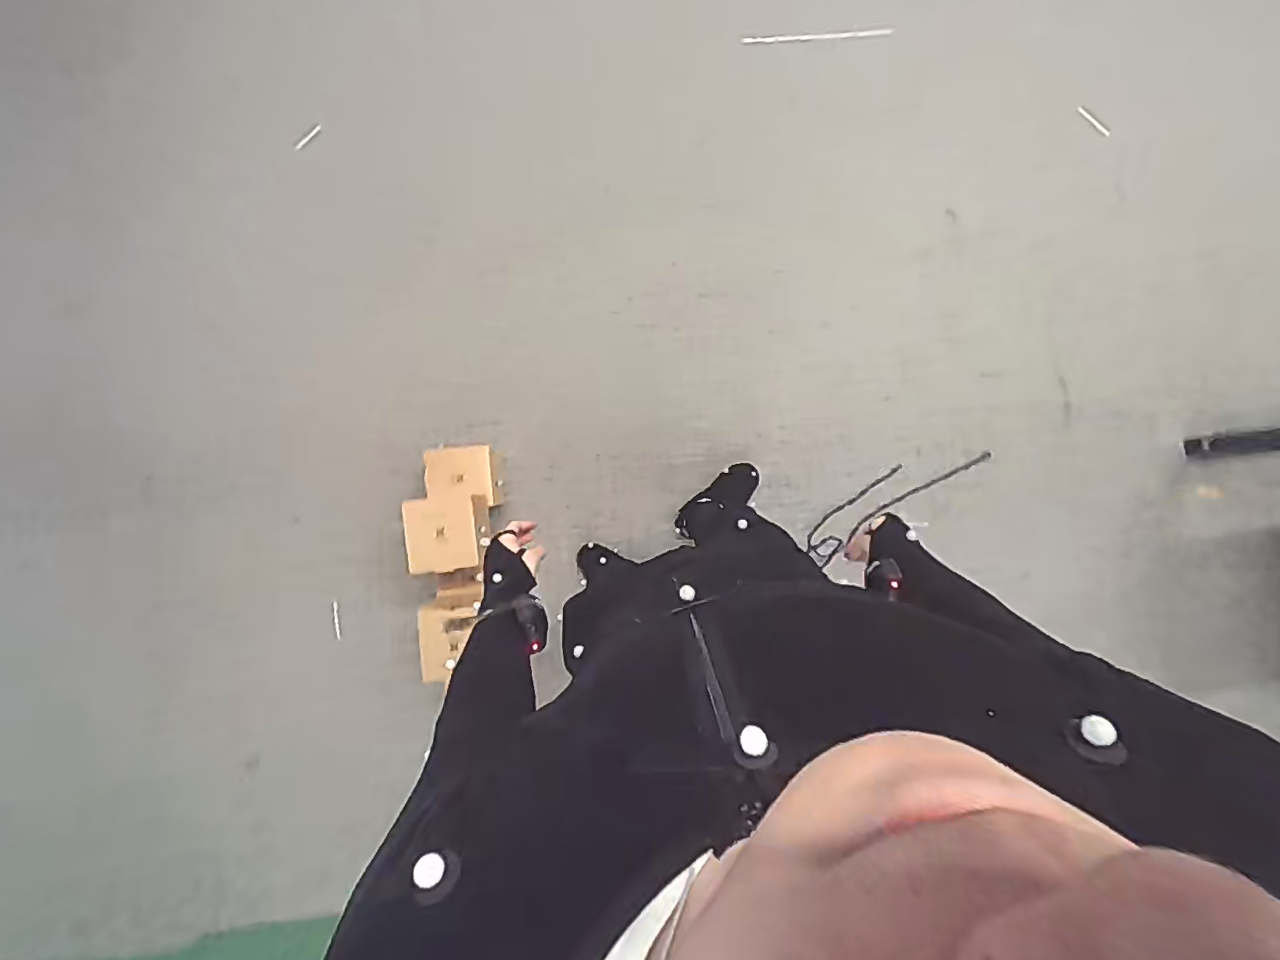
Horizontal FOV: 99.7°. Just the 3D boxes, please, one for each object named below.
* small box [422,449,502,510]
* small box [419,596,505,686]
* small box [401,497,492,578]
[{"bbox_3d":[-0.491,0.003,1.518,0.179,0.176,0.168,-6,90,-3],"label":"small box"},{"bbox_3d":[-0.439,0.394,1.353,0.168,0.176,0.179,-4,91,-3],"label":"small box"},{"bbox_3d":[-0.476,0.137,1.354,0.168,0.176,0.179,-7,88,-3],"label":"small box"}]
